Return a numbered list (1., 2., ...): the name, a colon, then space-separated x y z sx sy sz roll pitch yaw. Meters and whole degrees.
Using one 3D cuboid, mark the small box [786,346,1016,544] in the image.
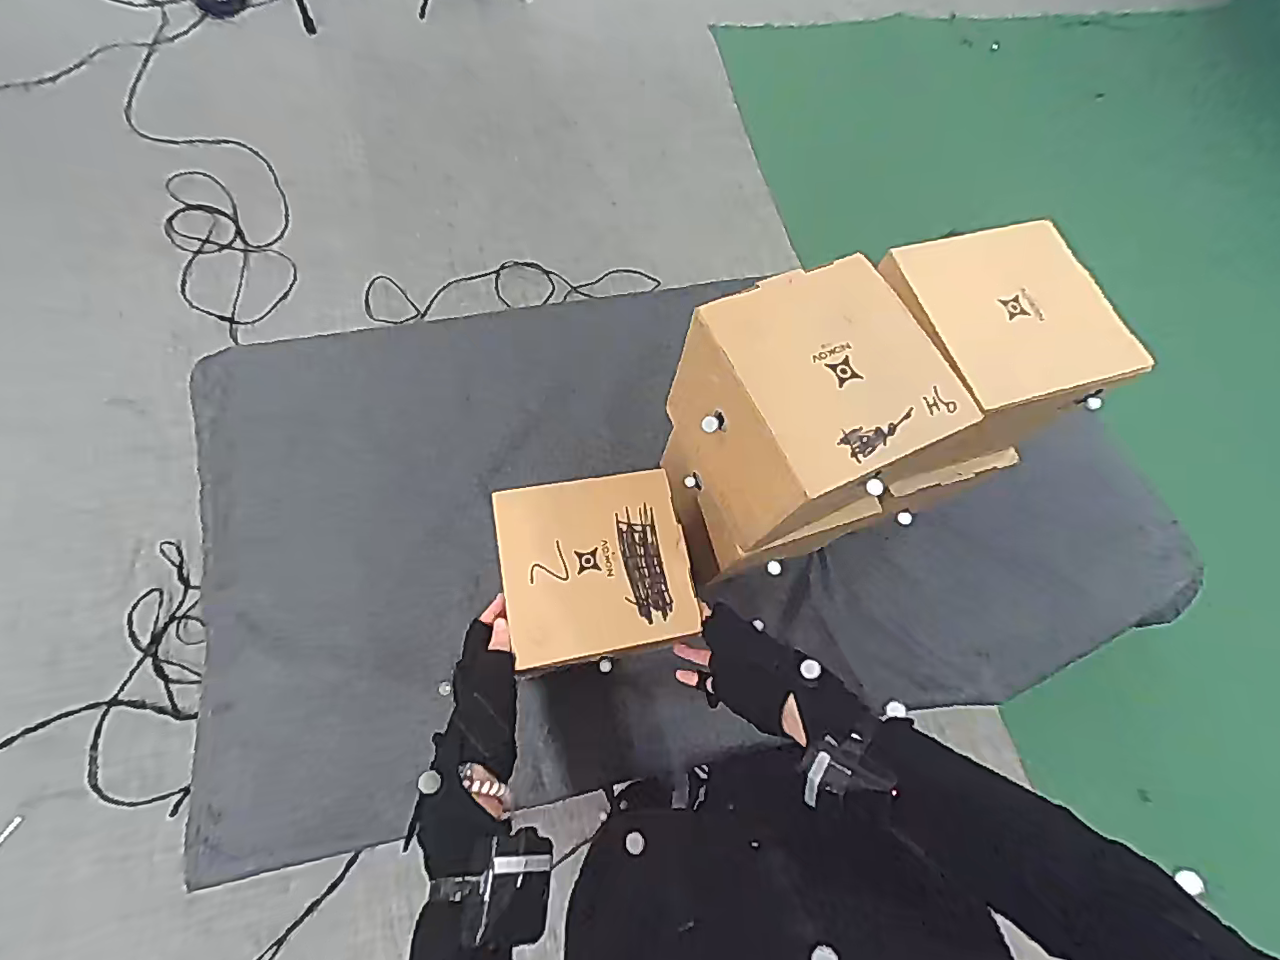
1. small box: 0.308 -0.038 0.683 0.168 0.176 0.179 -14 70 -10
